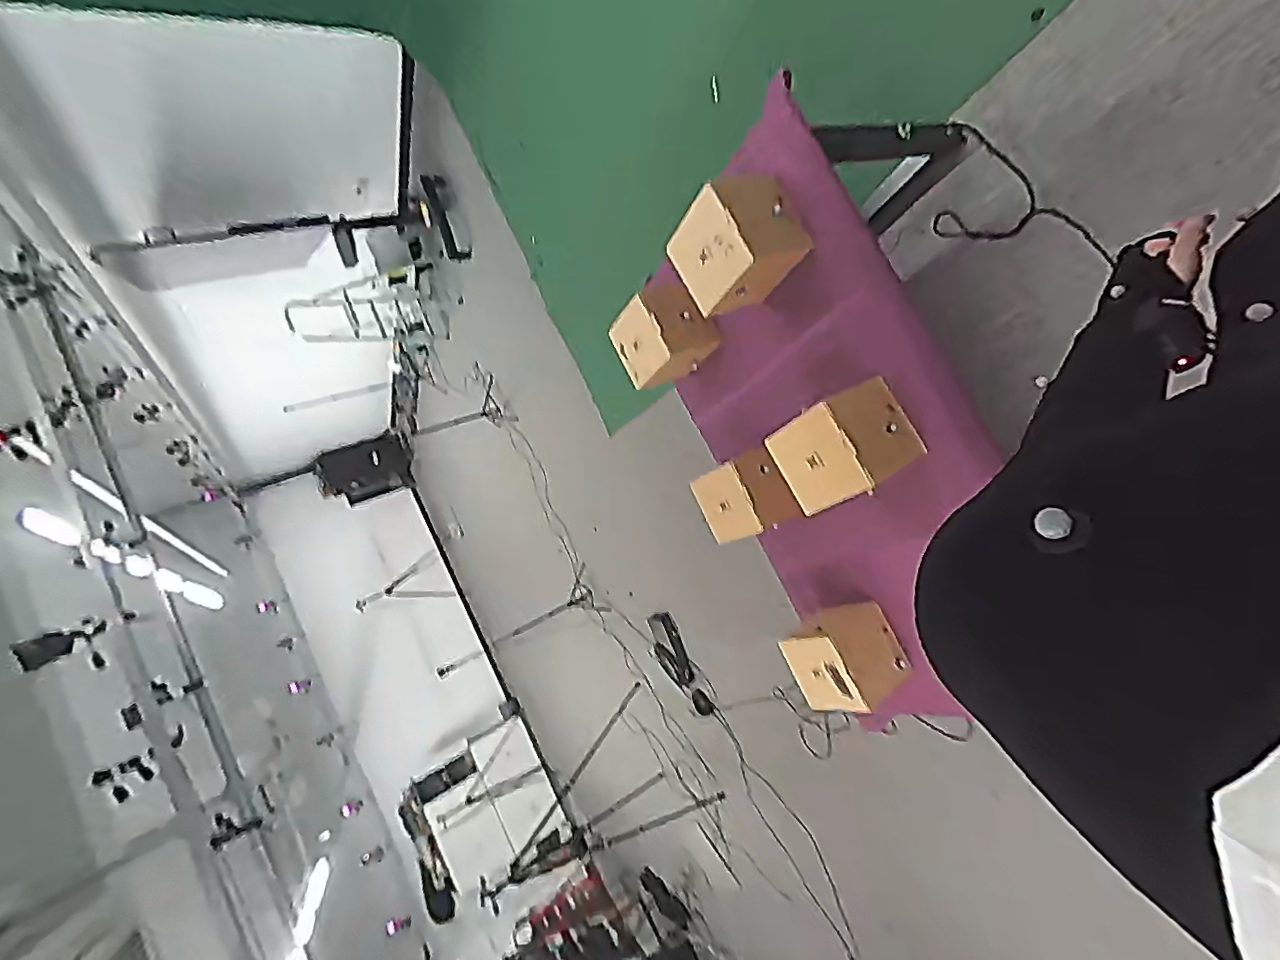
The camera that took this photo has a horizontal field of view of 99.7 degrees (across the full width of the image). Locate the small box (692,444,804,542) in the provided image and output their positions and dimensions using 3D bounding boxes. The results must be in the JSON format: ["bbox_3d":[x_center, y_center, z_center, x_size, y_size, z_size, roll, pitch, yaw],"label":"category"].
[{"bbox_3d":[0.260,0.027,1.266,0.179,0.176,0.168,-32,82,59],"label":"small box"}]

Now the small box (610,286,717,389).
[{"bbox_3d":[0.063,-0.349,1.314,0.179,0.176,0.168,-34,80,56],"label":"small box"}]

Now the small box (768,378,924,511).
[{"bbox_3d":[0.382,-0.066,1.011,0.168,0.176,0.179,62,150,9],"label":"small box"}]

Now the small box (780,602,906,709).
[{"bbox_3d":[0.454,0.384,1.197,0.168,0.176,0.179,64,150,7],"label":"small box"}]

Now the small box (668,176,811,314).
[{"bbox_3d":[0.190,-0.451,1.043,0.168,0.176,0.179,61,150,6],"label":"small box"}]
